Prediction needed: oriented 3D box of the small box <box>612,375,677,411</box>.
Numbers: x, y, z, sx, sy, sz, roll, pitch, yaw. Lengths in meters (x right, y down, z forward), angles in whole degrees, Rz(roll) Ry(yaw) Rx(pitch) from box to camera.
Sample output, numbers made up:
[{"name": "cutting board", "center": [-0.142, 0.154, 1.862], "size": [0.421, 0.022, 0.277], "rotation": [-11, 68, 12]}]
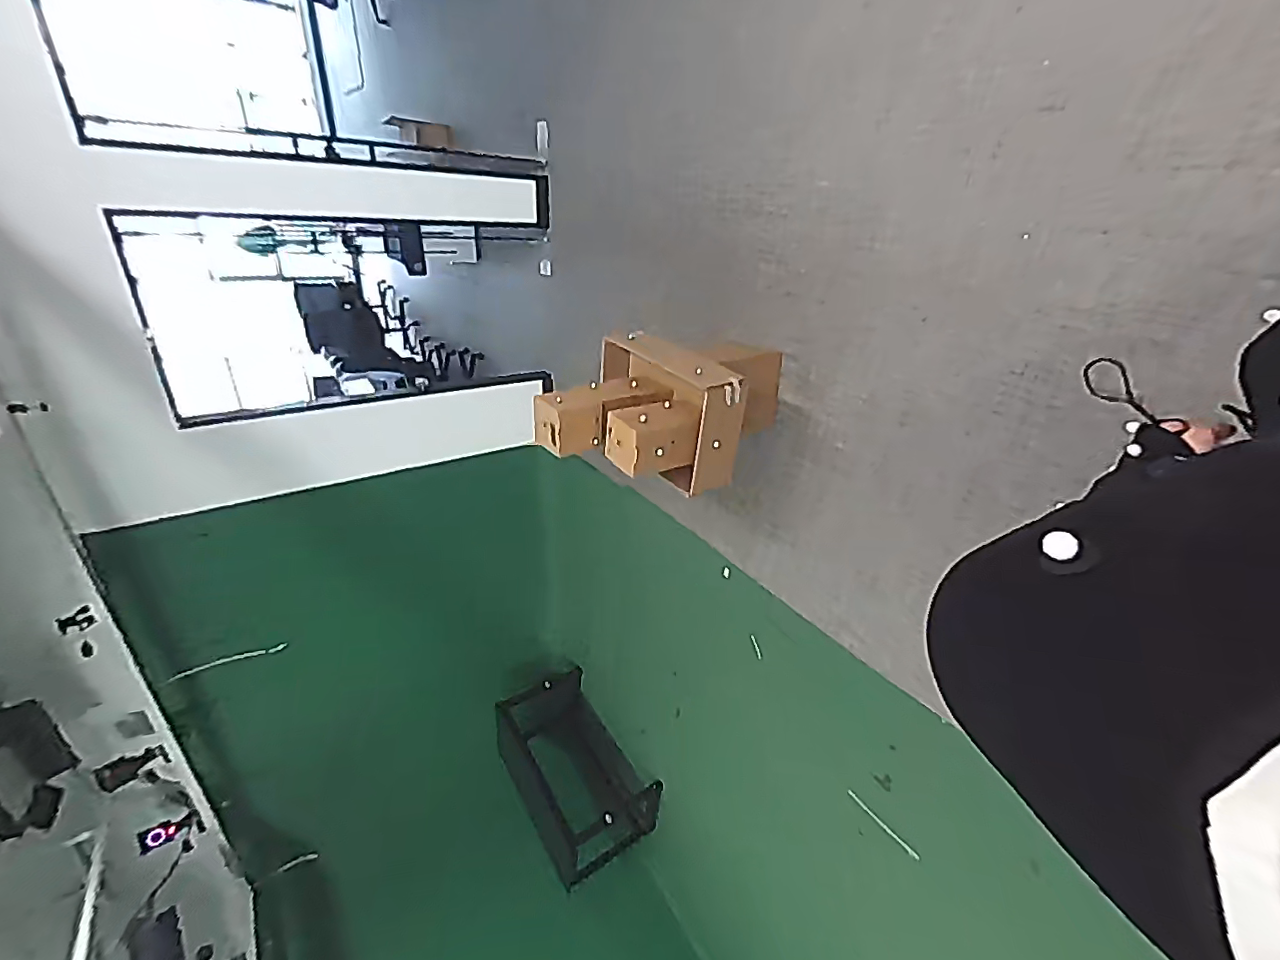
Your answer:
[{"name": "small box", "center": [0.013, -0.292, 2.043], "size": [0.179, 0.176, 0.168], "rotation": [35, 130, 42]}]

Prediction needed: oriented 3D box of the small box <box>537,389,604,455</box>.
[{"name": "small box", "center": [-0.234, -0.205, 1.843], "size": [0.179, 0.176, 0.168], "rotation": [33, 130, 44]}]

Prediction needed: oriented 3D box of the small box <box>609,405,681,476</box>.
[{"name": "small box", "center": [0.016, -0.138, 1.781], "size": [0.179, 0.176, 0.168], "rotation": [40, 134, 43]}]

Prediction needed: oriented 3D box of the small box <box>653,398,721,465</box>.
[{"name": "small box", "center": [0.151, -0.174, 1.865], "size": [0.179, 0.176, 0.168], "rotation": [40, 135, 44]}]
